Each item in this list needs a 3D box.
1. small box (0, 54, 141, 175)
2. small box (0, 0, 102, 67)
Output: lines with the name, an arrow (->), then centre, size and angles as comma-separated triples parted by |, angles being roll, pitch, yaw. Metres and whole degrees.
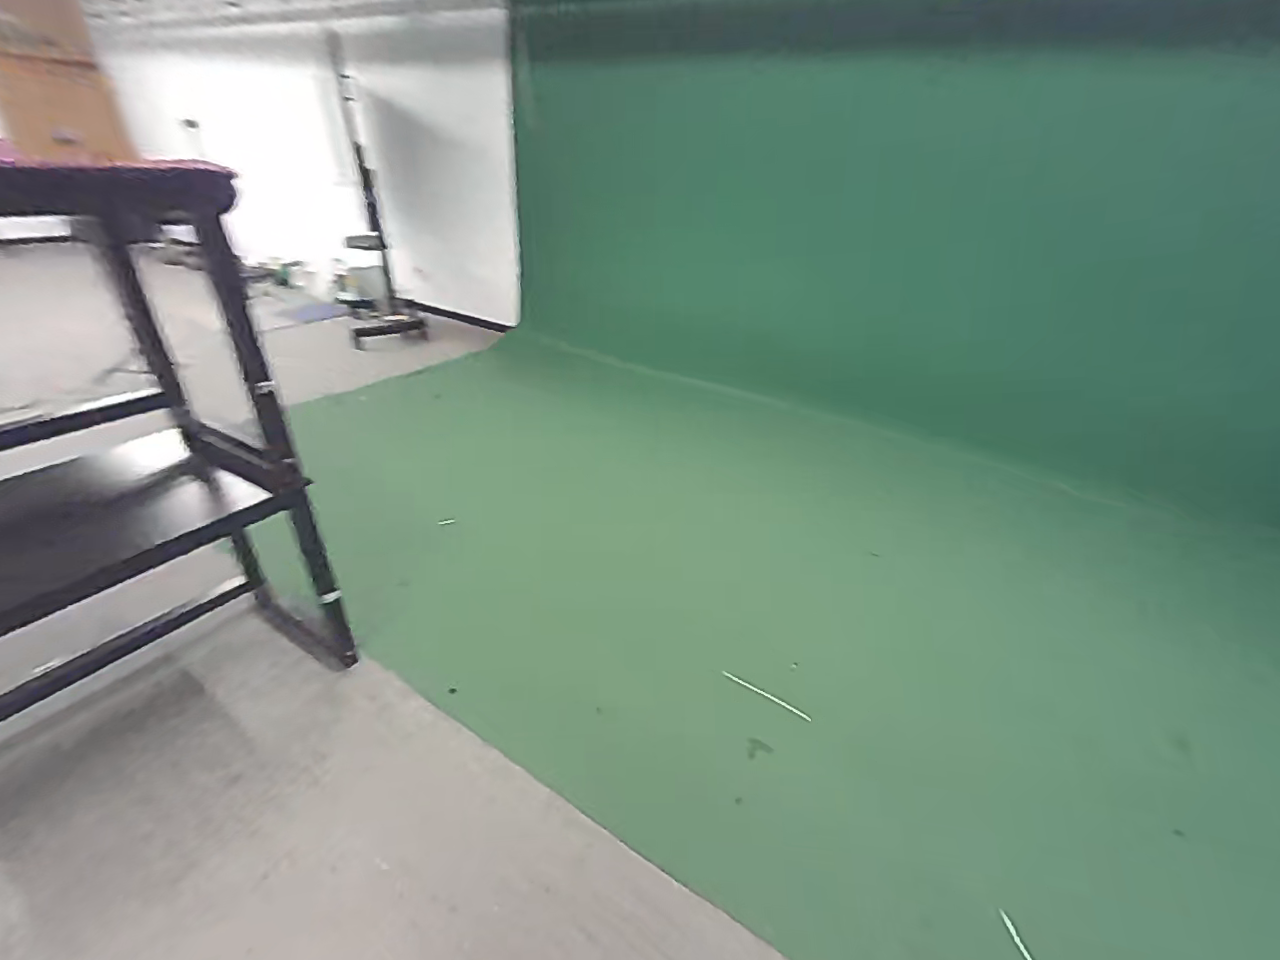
small box -> -1.058, -0.662, 0.982 | 0.179, 0.176, 0.168 | 29, 39, 32
small box -> -1.041, -0.797, 0.894 | 0.168, 0.176, 0.179 | -26, 45, -37
